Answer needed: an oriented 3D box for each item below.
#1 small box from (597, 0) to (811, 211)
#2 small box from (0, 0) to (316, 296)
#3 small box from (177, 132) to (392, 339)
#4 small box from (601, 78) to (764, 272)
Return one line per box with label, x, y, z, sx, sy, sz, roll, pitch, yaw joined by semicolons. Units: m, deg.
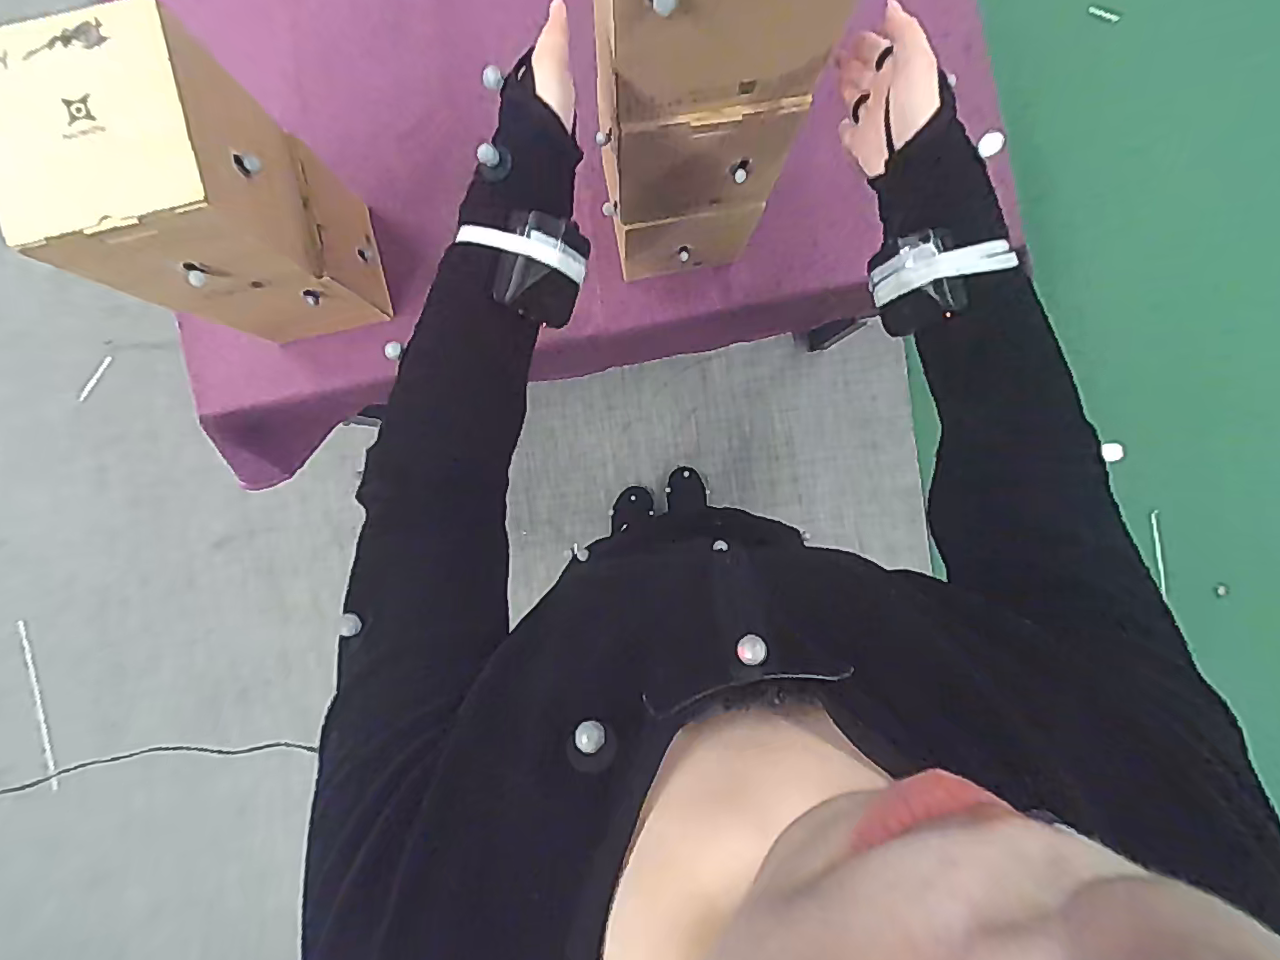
small box;0.051;-0.386;0.528;0.168;0.176;0.179;-8;90;-1
small box;-0.448;-0.292;0.518;0.168;0.176;0.179;-14;91;-2
small box;-0.447;-0.291;0.682;0.179;0.176;0.168;-14;91;-2
small box;0.047;-0.383;0.692;0.168;0.176;0.179;-10;91;-2
